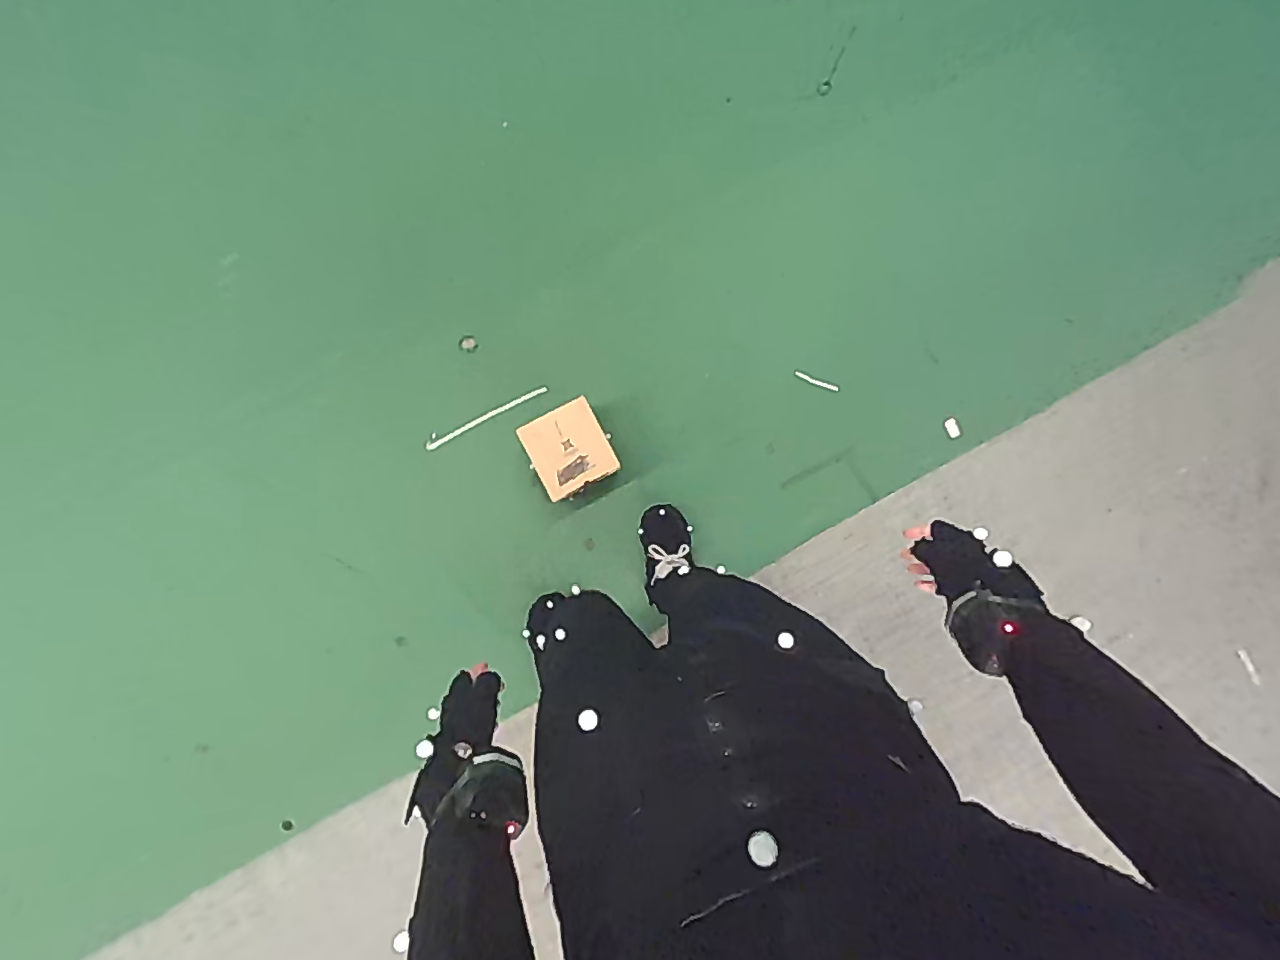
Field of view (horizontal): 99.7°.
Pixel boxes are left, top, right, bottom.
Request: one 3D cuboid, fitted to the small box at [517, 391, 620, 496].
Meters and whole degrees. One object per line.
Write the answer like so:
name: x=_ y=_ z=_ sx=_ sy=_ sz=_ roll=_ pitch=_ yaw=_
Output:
small box: x=-0.155 y=-0.079 z=1.228 sx=0.168 sy=0.176 sz=0.179 roll=-28 pitch=91 yaw=-4
